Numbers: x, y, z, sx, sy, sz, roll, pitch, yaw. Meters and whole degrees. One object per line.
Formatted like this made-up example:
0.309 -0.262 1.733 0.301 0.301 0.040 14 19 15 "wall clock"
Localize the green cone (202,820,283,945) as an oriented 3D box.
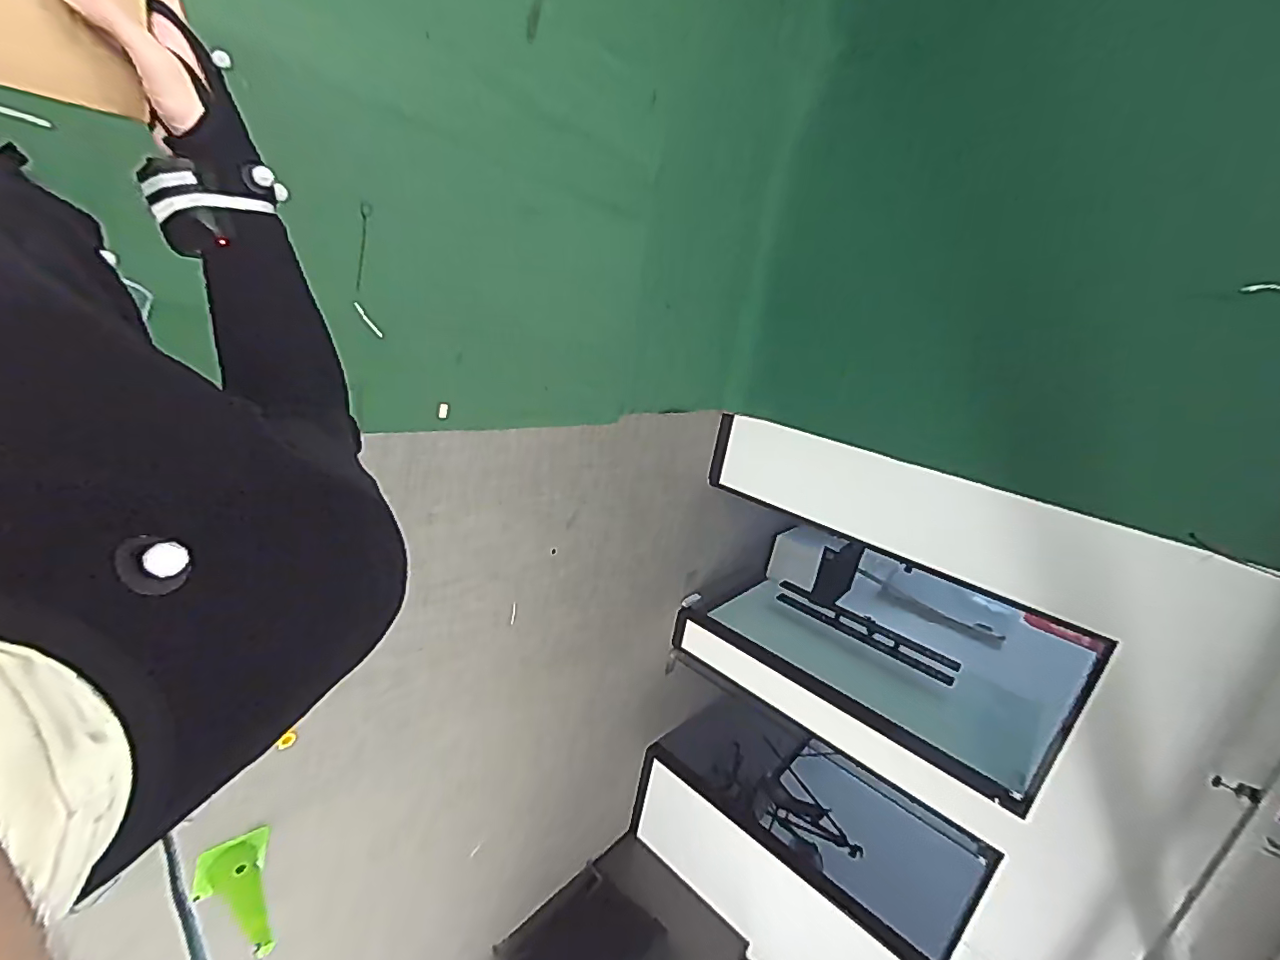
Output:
-1.229 1.330 1.733 0.200 0.368 0.202 -3 110 -52 "green cone"
